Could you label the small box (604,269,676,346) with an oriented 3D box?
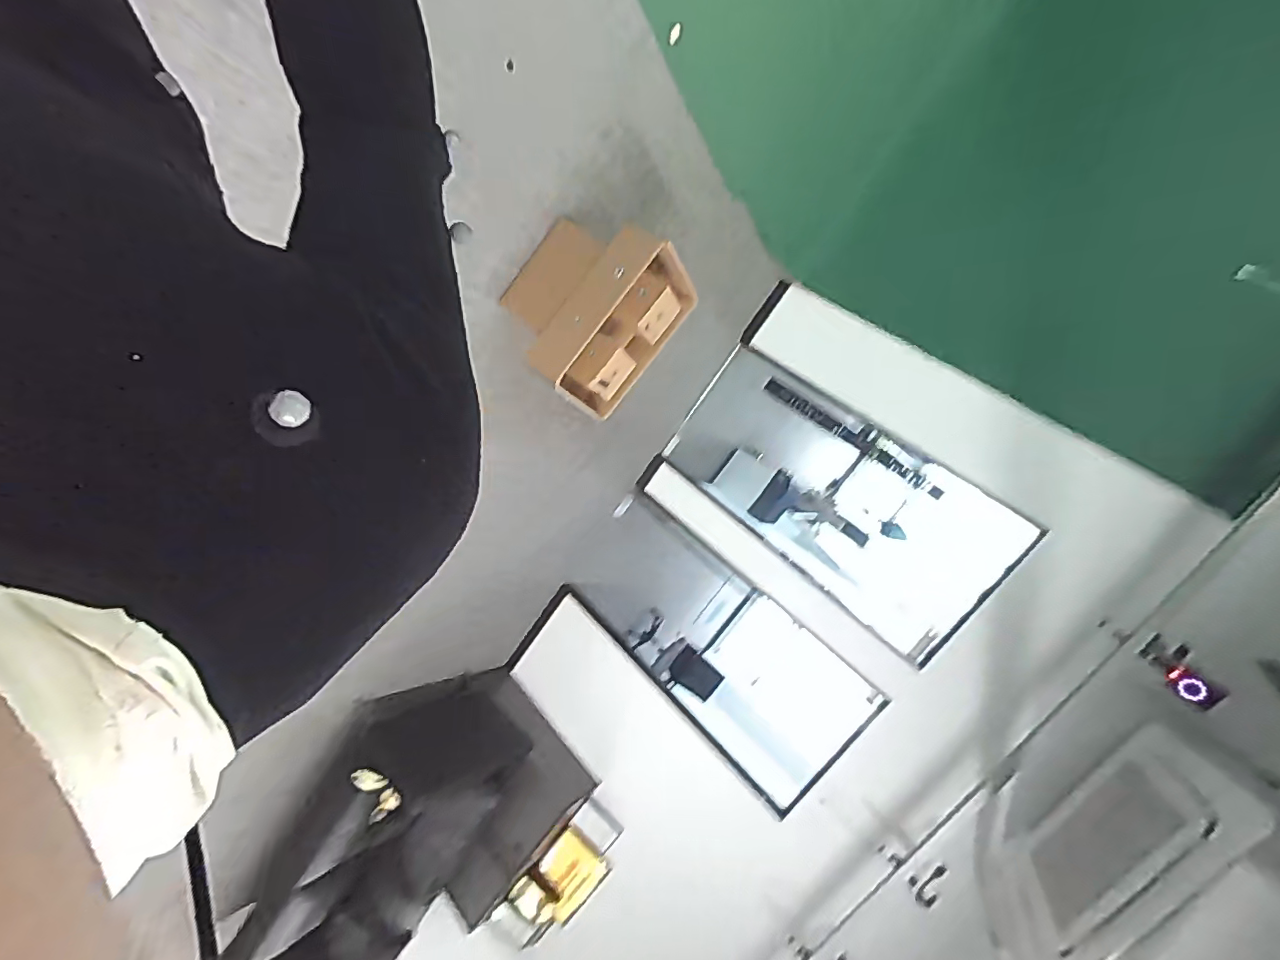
[{"bbox_3d":[0.000,-0.631,1.970,0.179,0.176,0.168,-52,156,3],"label":"small box"}]
